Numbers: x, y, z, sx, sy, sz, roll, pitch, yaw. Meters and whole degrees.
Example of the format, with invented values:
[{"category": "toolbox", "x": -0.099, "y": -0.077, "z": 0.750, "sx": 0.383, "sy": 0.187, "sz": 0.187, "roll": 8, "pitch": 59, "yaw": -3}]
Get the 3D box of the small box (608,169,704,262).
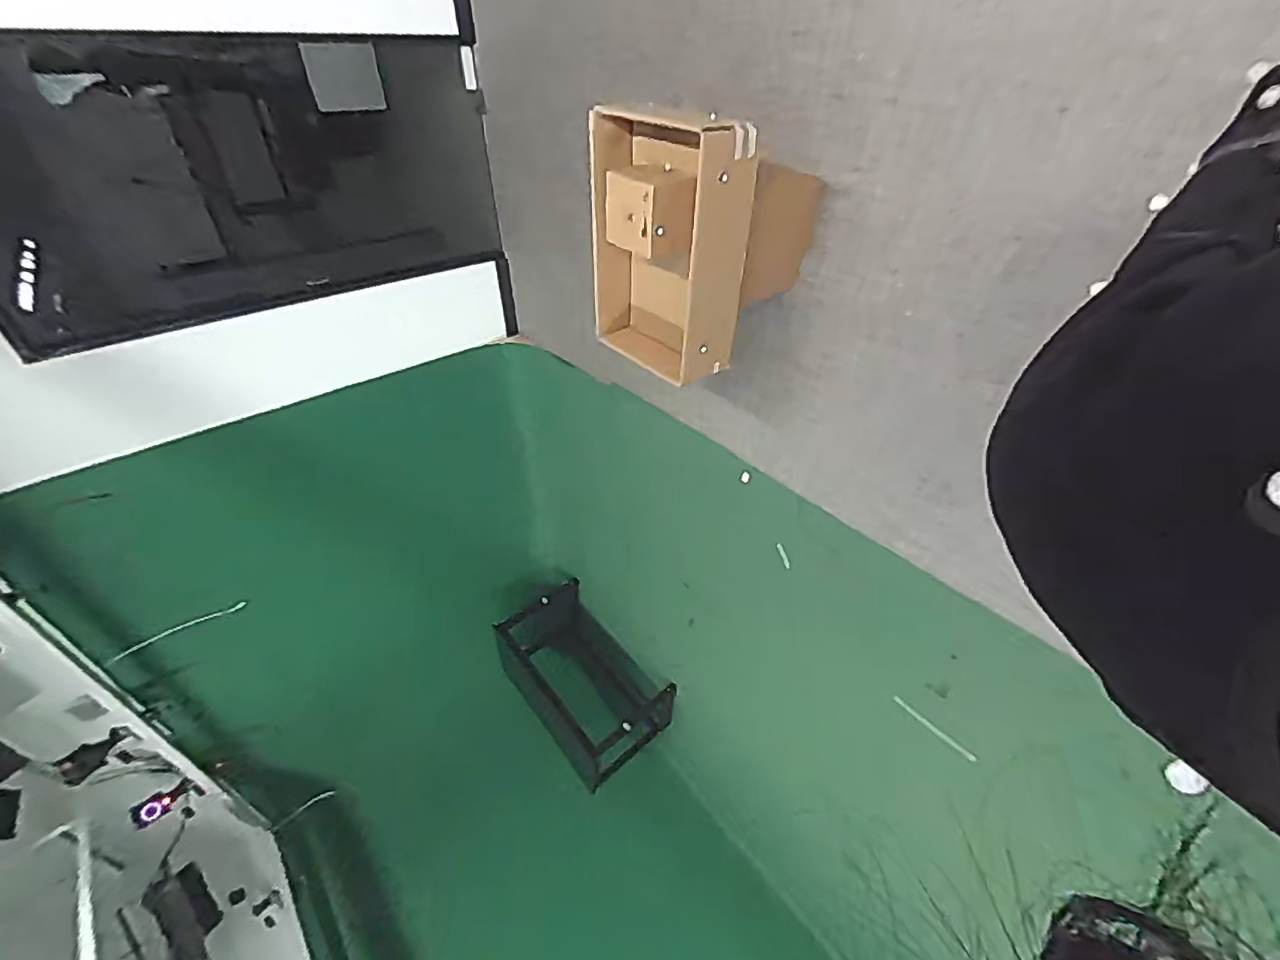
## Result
[{"category": "small box", "x": 0.036, "y": -0.673, "z": 1.364, "sx": 0.179, "sy": 0.176, "sz": 0.168, "roll": 40, "pitch": 144, "yaw": 34}]
